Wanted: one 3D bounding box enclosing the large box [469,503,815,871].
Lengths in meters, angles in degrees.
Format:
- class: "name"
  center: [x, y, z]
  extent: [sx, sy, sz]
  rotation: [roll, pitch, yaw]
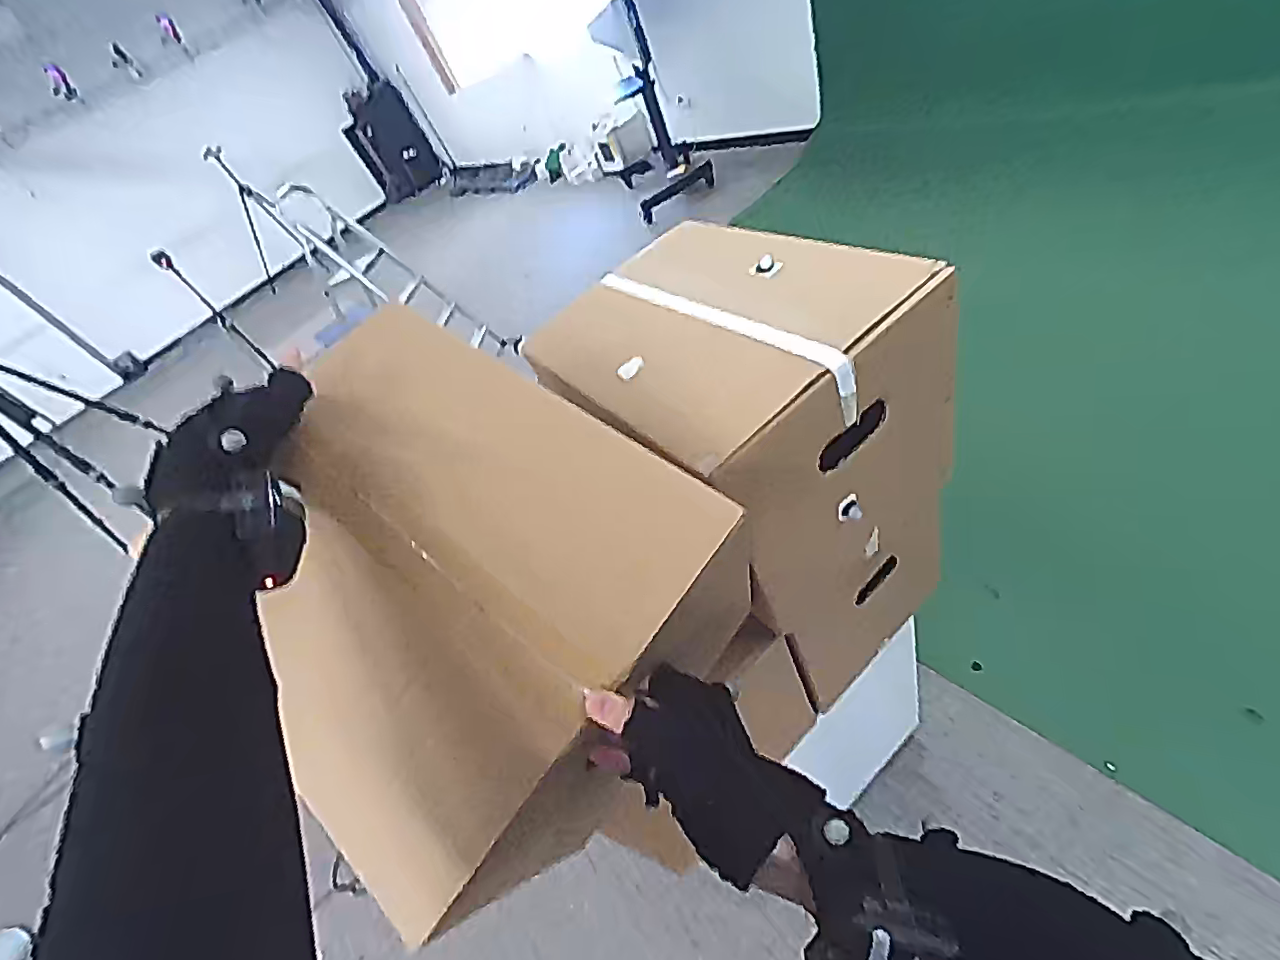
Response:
- class: "large box"
  center: [0.004, 0.308, 0.866]
  extent: [0.320, 0.320, 0.408]
  rotation: [-42, 42, -14]
